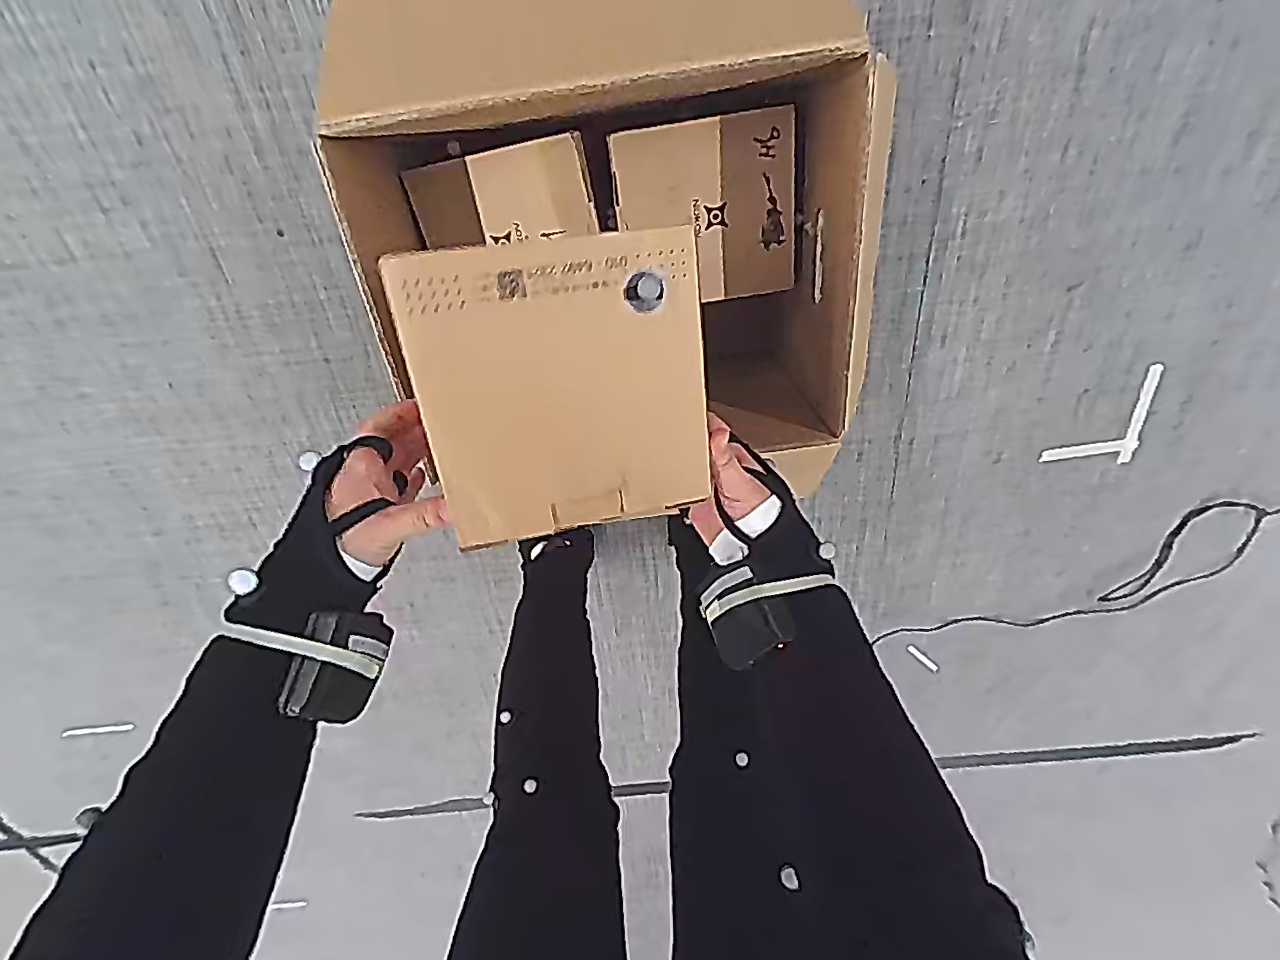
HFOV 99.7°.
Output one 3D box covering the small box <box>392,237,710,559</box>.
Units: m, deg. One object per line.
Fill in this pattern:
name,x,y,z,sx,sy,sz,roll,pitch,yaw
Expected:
small box,-0.061,-0.074,0.391,0.168,0.179,0.176,-12,116,-9
